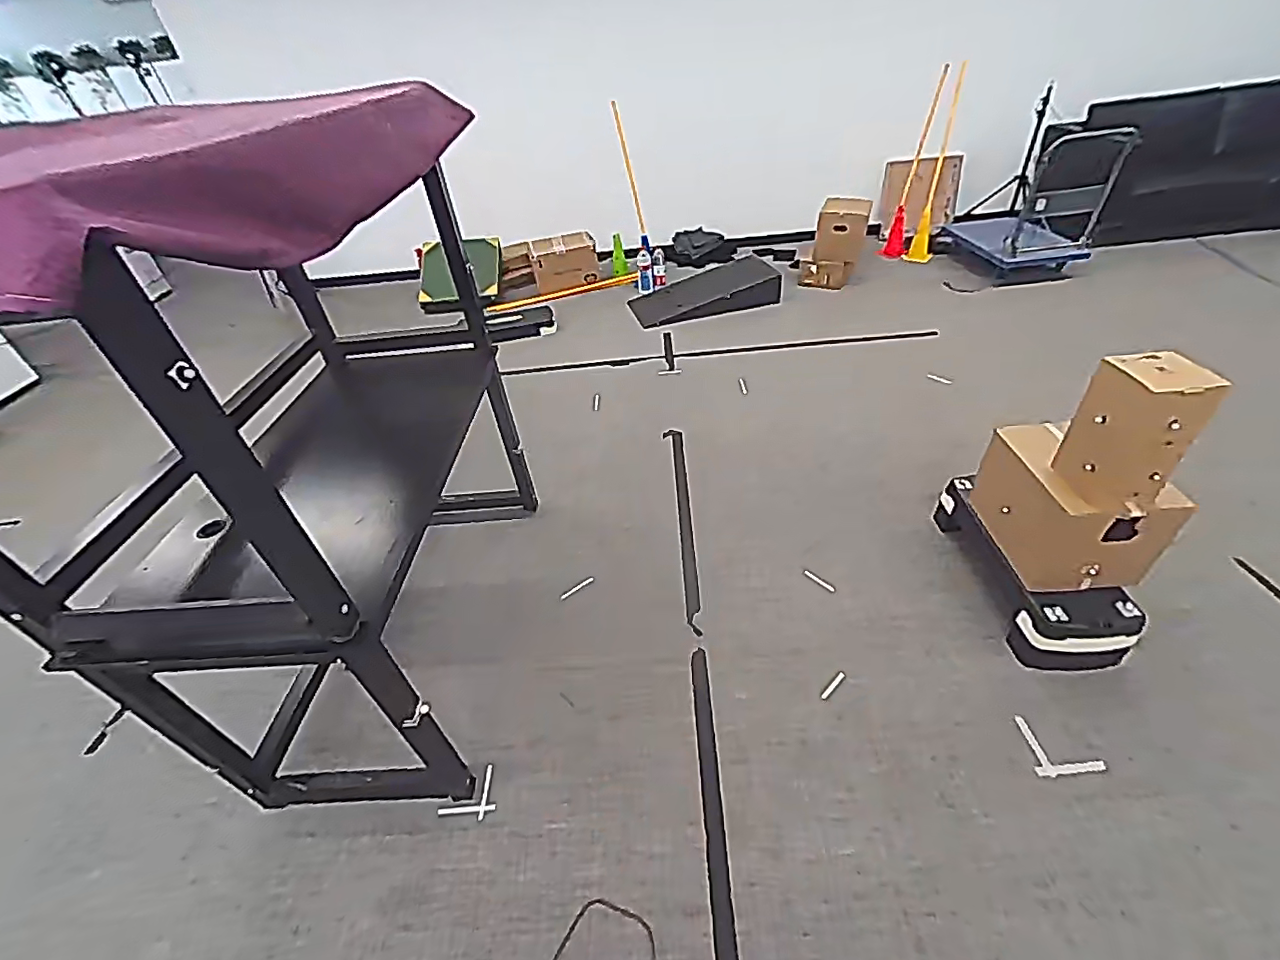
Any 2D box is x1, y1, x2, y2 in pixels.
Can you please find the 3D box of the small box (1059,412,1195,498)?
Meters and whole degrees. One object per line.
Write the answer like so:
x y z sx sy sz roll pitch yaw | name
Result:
1.230 -0.064 1.384 0.168 0.176 0.179 -4 38 4 | small box

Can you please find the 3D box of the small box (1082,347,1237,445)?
1.216 -0.193 1.283 0.168 0.176 0.179 -4 40 3 | small box

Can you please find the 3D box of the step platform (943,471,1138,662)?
1.263 0.240 1.772 0.286 0.204 0.684 -1 39 8 | step platform

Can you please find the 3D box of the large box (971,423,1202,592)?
1.266 0.073 1.598 0.320 0.320 0.408 -4 38 3 | large box
